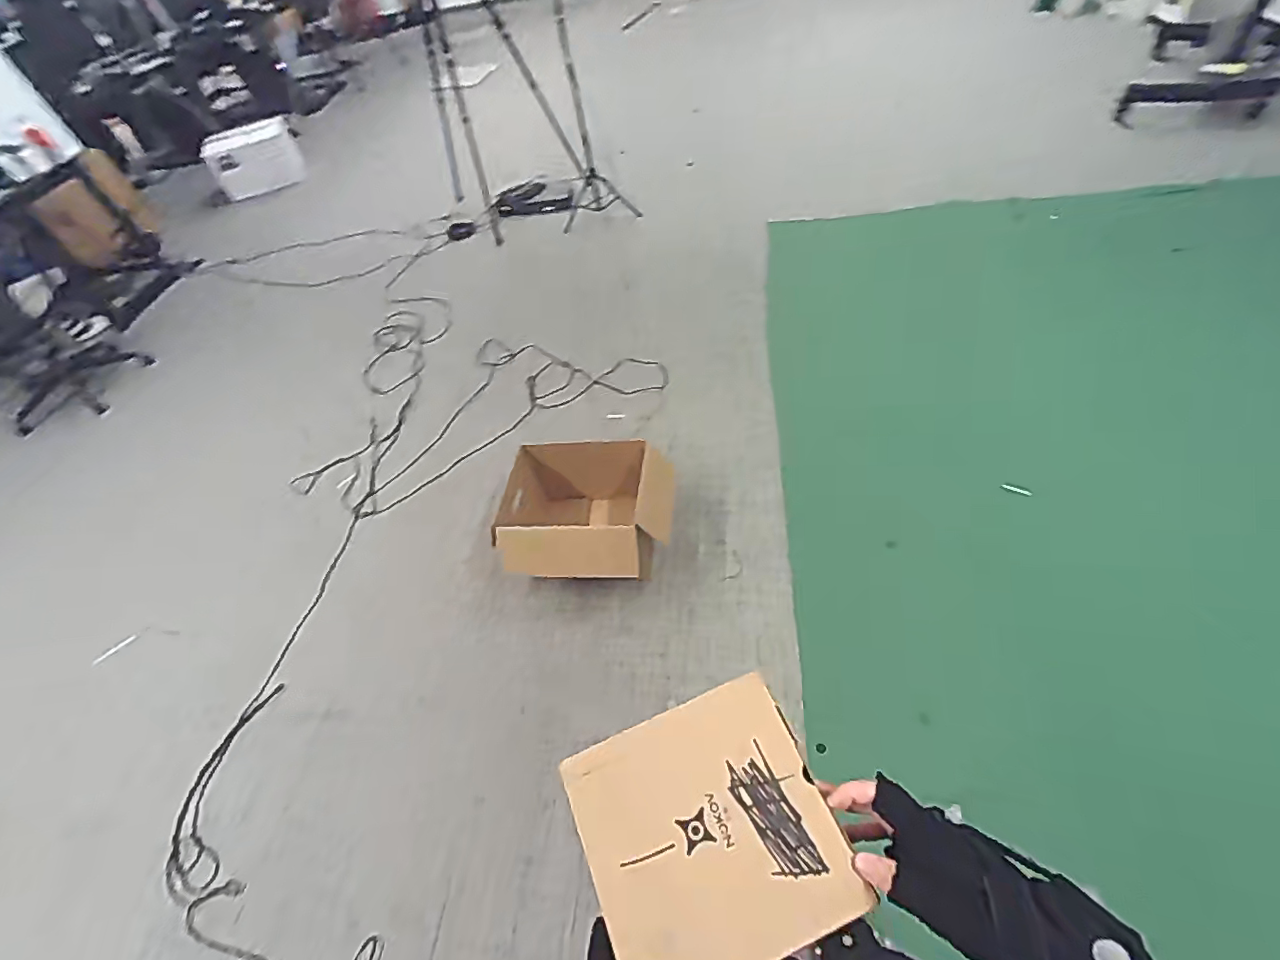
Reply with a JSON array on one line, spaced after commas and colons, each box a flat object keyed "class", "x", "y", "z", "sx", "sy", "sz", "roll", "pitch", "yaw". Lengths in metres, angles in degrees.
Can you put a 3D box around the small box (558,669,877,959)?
[{"class": "small box", "x": 0.053, "y": 0.283, "z": 0.447, "sx": 0.179, "sy": 0.176, "sz": 0.168, "roll": -23, "pitch": 59, "yaw": -8}]
